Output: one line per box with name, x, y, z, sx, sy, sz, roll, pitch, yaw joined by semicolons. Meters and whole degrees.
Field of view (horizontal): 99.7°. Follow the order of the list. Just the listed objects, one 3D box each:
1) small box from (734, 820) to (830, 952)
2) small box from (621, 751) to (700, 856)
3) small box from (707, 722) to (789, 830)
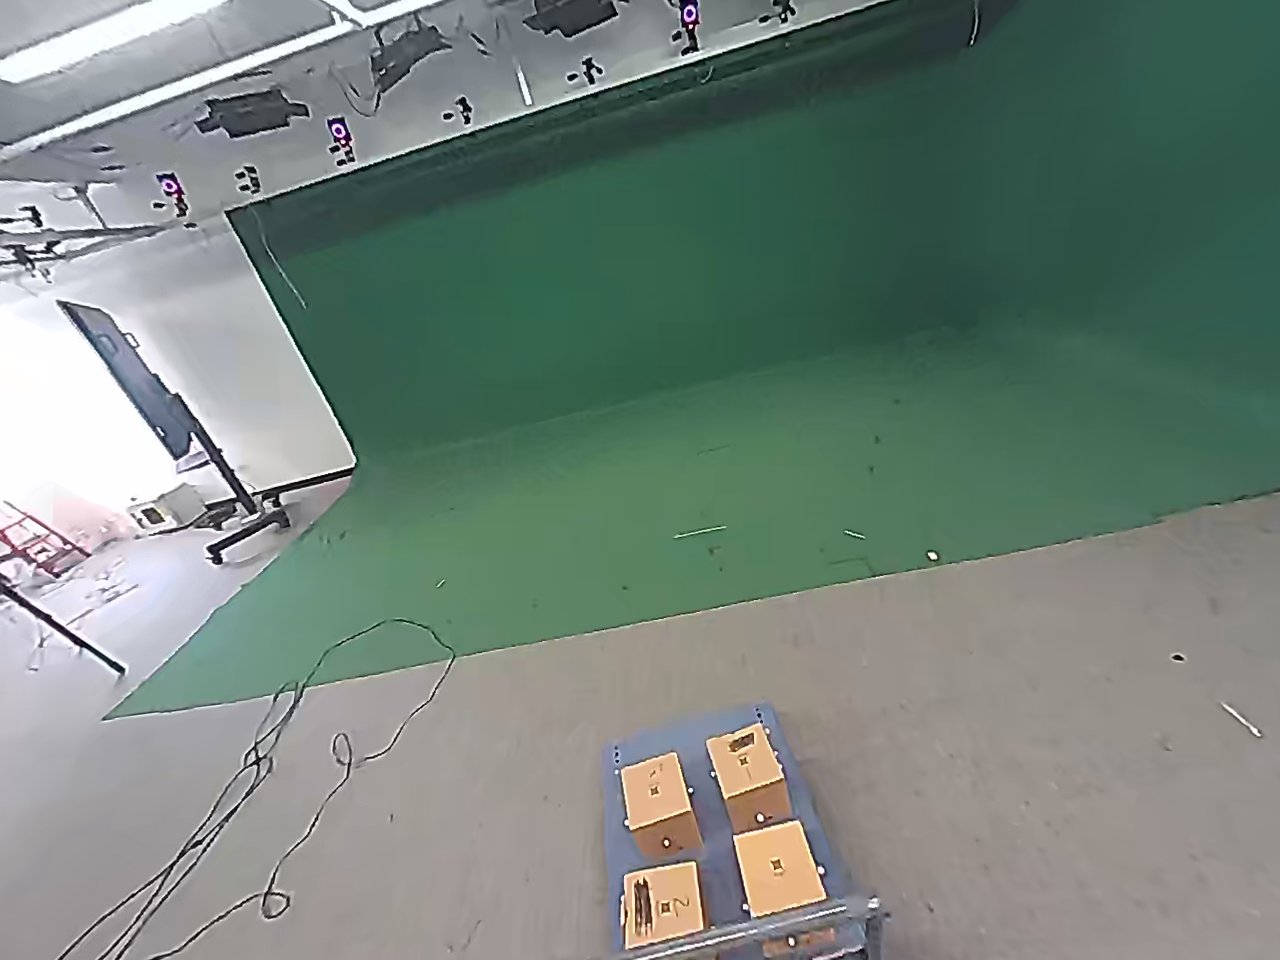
small box;0.326;0.934;1.248;0.168;0.176;0.179;-15;27;2
small box;0.055;0.888;1.477;0.168;0.176;0.179;-16;27;-2
small box;0.296;0.814;1.489;0.168;0.176;0.179;-18;28;-2
